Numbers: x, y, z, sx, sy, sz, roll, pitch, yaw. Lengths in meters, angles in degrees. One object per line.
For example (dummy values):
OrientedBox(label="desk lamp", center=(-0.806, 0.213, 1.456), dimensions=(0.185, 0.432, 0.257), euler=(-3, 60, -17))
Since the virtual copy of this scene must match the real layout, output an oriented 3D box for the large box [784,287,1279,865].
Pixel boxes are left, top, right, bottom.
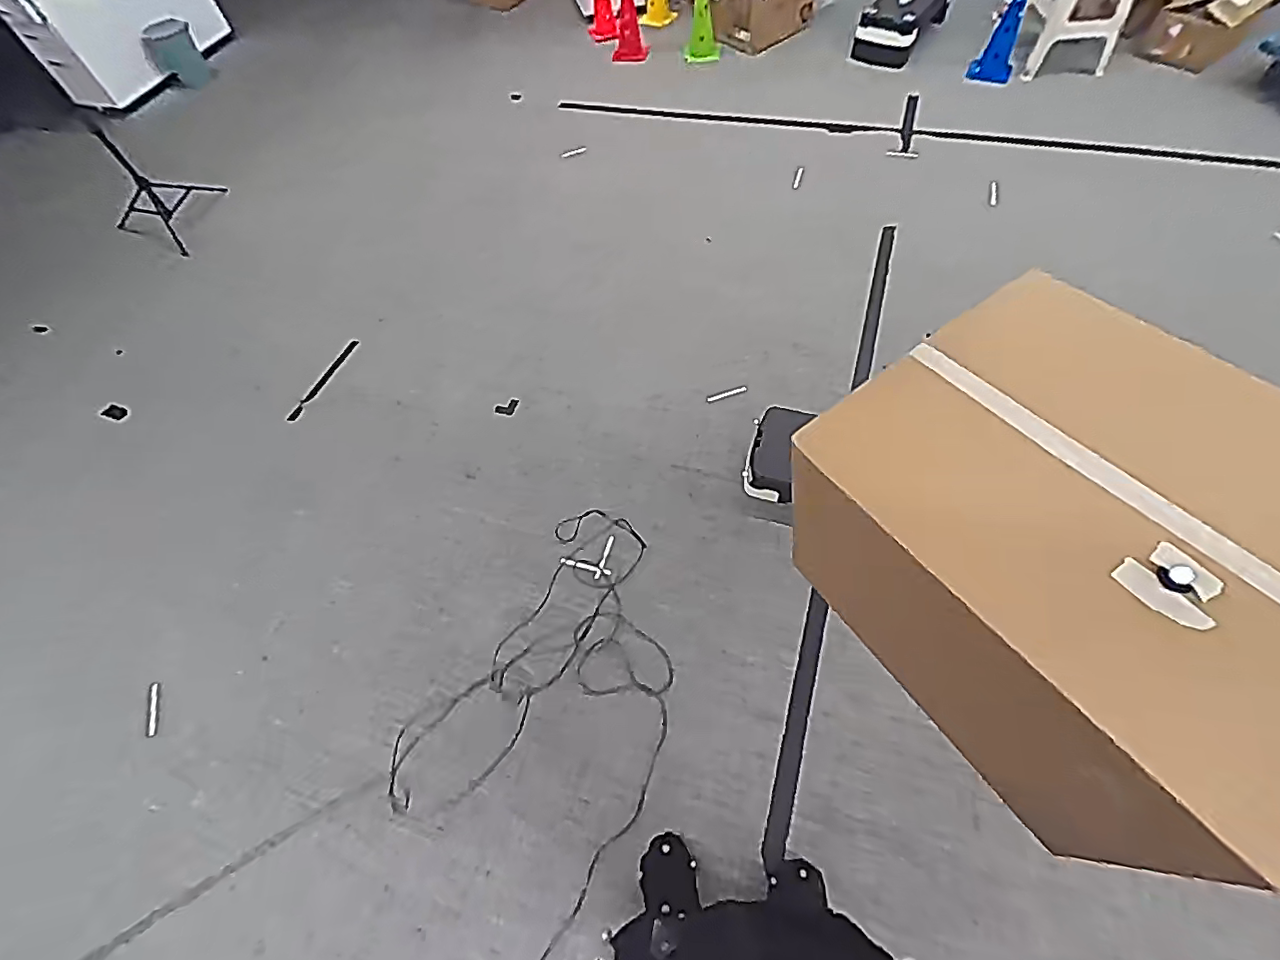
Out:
OrientedBox(label="large box", center=(0.399, 0.086, 0.559), dimensions=(0.320, 0.320, 0.408), euler=(-35, 58, -6))
